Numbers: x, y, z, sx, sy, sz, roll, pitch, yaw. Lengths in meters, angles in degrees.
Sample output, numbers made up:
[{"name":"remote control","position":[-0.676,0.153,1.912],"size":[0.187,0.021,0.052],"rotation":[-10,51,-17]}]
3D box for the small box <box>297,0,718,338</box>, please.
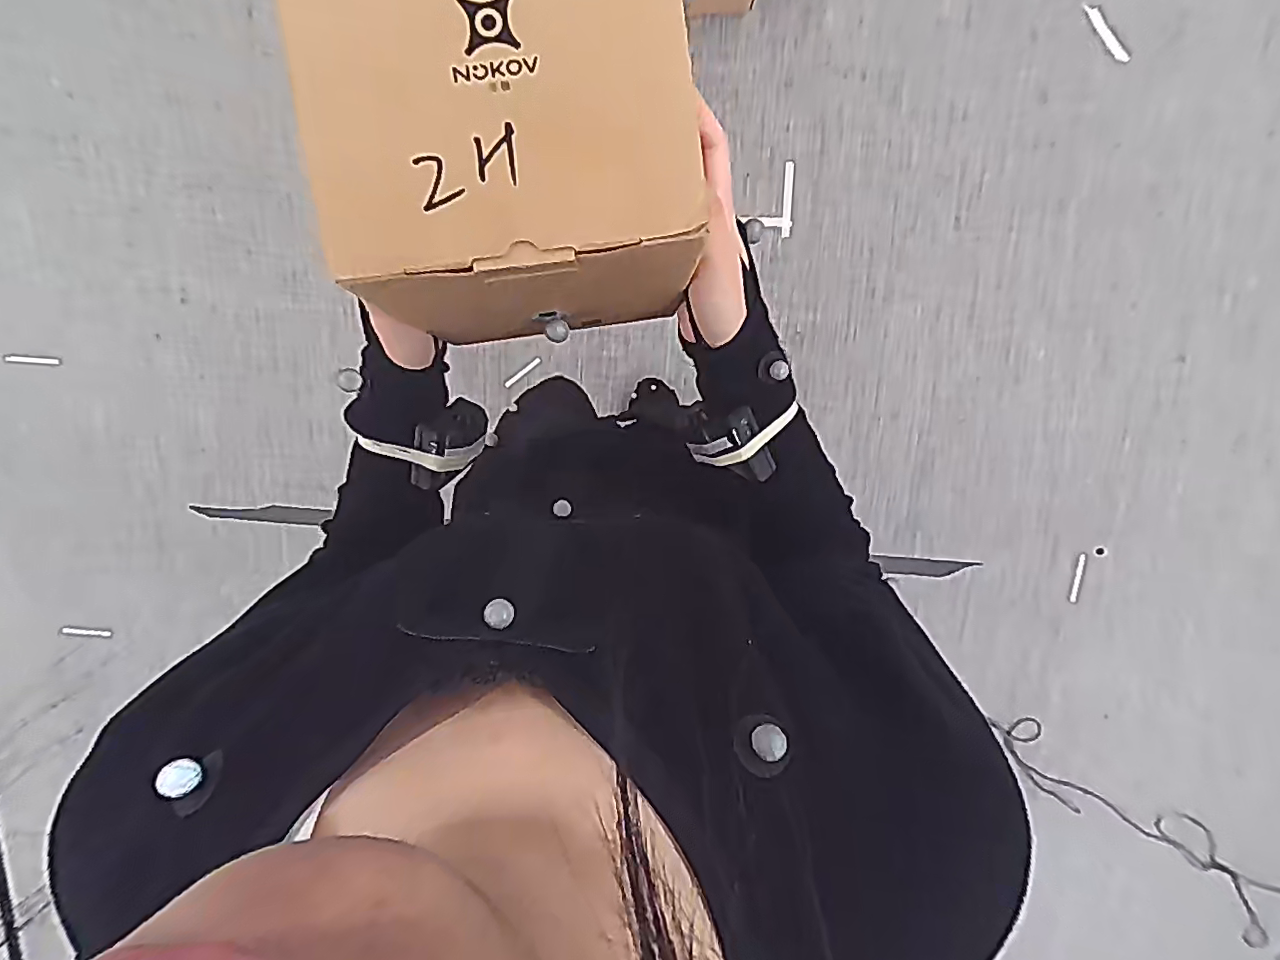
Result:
[{"name":"small box","position":[-0.060,-0.191,0.305],"size":[0.168,0.176,0.179],"rotation":[-8,96,-1]}]
